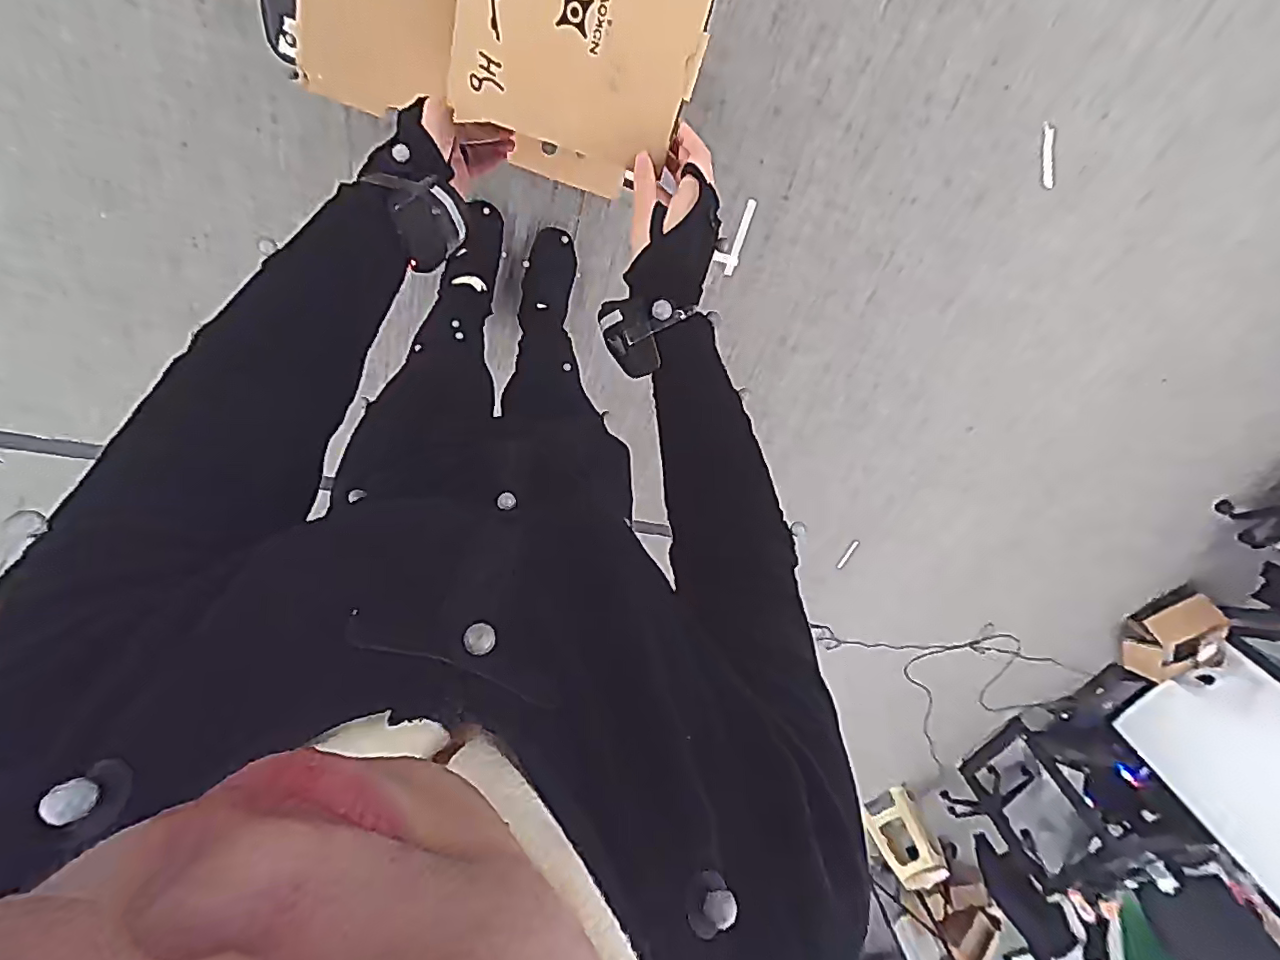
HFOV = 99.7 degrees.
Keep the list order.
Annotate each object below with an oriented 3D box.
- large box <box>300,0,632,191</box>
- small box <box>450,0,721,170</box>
[{"bbox_3d":[-0.185,-0.640,0.732,0.408,0.320,0.320,11,122,-18],"label":"large box"},{"bbox_3d":[-0.047,-0.381,0.439,0.179,0.176,0.168,9,123,-19],"label":"small box"}]
